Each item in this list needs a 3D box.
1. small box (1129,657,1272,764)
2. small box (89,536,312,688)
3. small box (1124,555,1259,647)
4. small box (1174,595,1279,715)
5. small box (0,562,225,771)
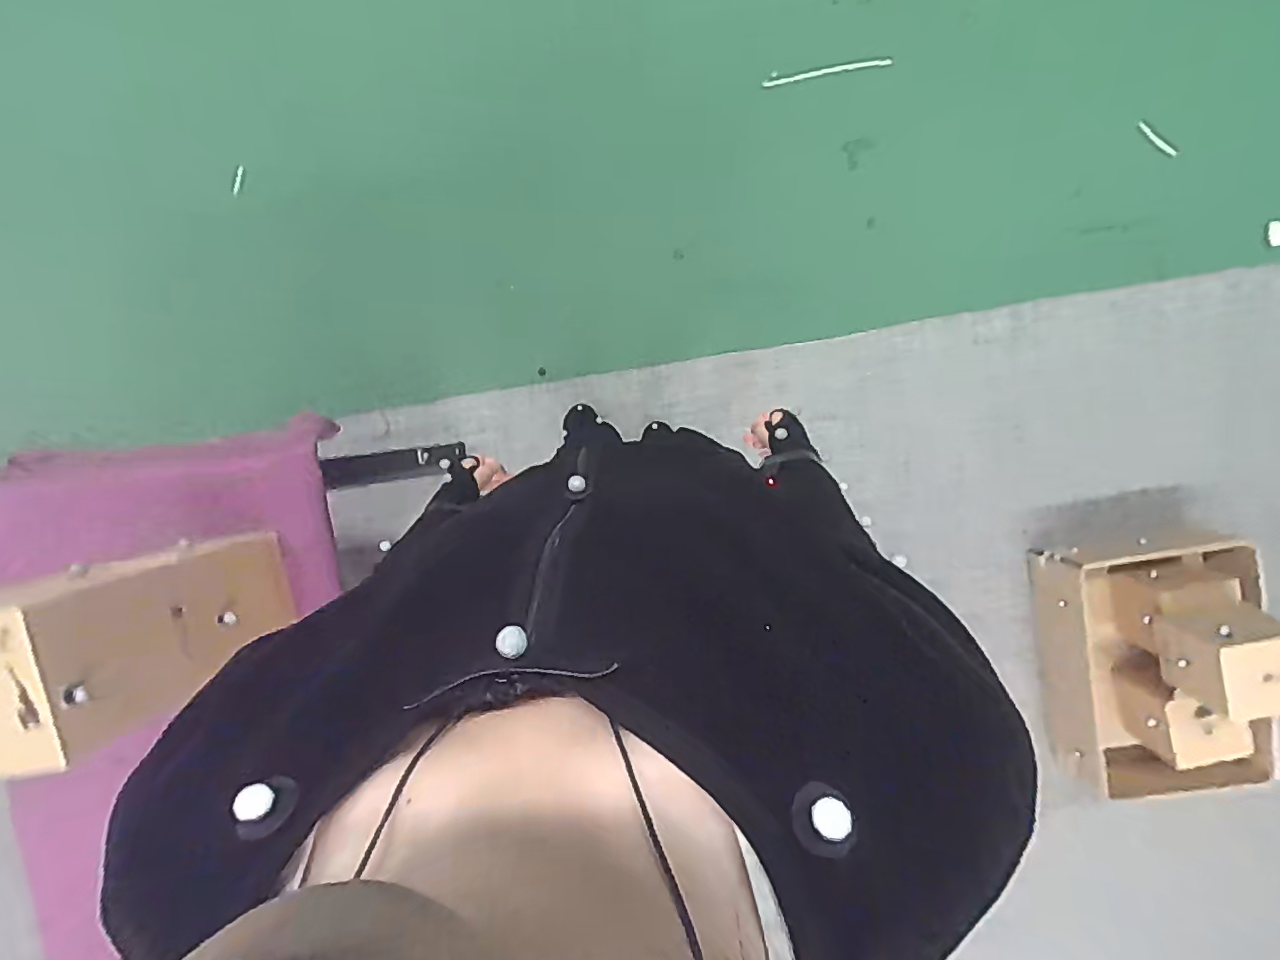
[{"bbox_3d":[1.355,0.550,1.321,0.168,0.176,0.179,-17,94,8],"label":"small box"},{"bbox_3d":[-0.618,0.185,0.780,0.168,0.176,0.179,-10,97,6],"label":"small box"},{"bbox_3d":[1.313,0.290,1.296,0.168,0.176,0.179,-14,97,9],"label":"small box"},{"bbox_3d":[1.288,0.362,1.143,0.179,0.176,0.168,-15,97,9],"label":"small box"},{"bbox_3d":[-0.635,0.202,0.618,0.179,0.176,0.168,-9,97,6],"label":"small box"}]
